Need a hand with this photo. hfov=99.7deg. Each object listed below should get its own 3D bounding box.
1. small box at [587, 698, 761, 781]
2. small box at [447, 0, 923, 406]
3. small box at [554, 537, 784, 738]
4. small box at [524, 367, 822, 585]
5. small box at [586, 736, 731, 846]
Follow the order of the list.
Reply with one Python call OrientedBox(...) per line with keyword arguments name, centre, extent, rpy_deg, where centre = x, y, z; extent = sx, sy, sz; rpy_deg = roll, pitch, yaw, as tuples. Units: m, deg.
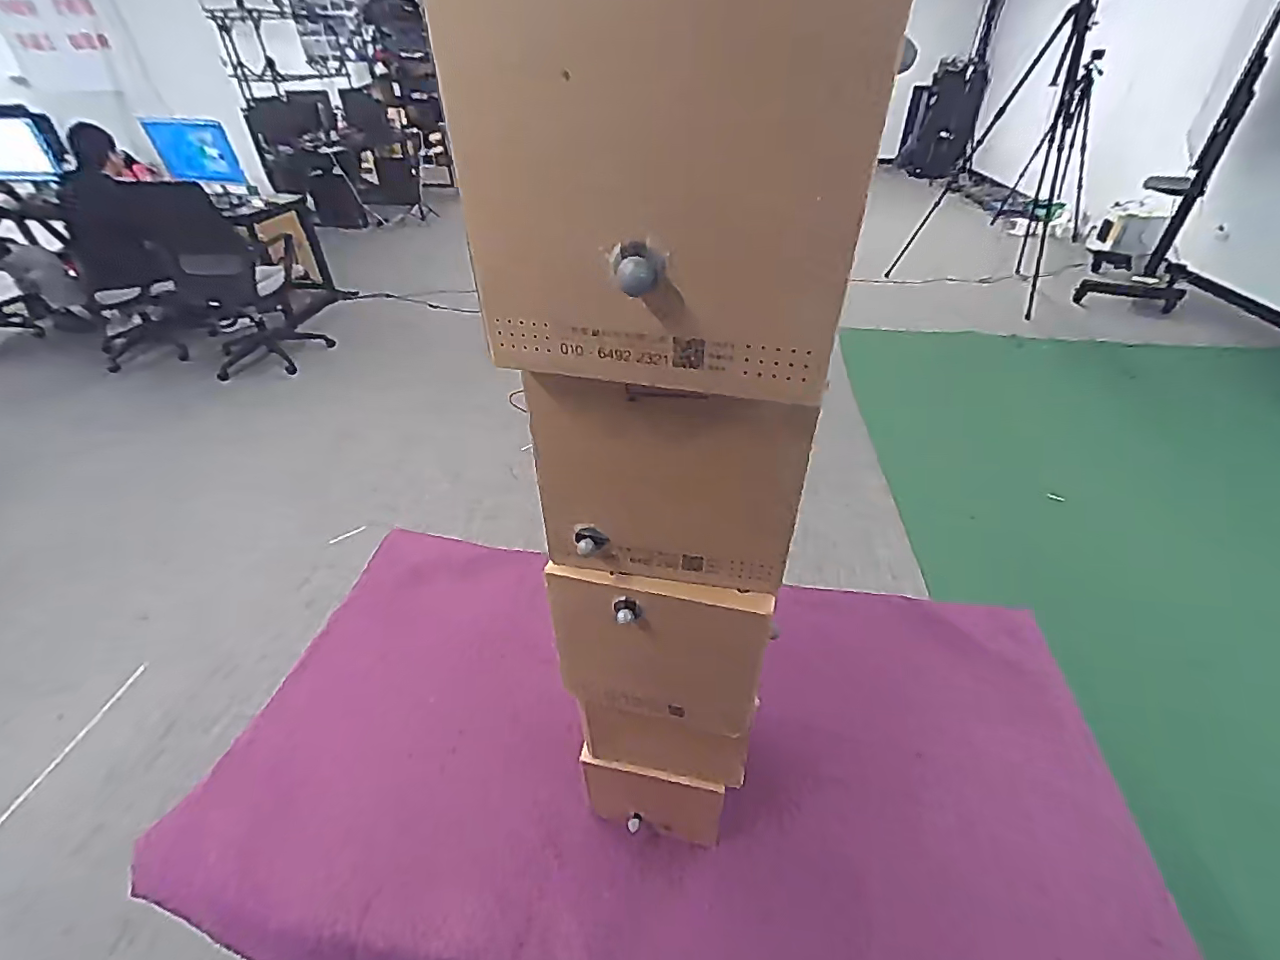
OrientedBox(name="small box", centre=(0.042, 0.206, 0.604), extent=(0.179, 0.176, 0.168), rpy_deg=(7, 39, 10))
OrientedBox(name="small box", centre=(0.027, -0.159, 0.272), extent=(0.168, 0.176, 0.179), rpy_deg=(9, 40, 13))
OrientedBox(name="small box", centre=(0.036, 0.092, 0.484), extent=(0.168, 0.176, 0.179), rpy_deg=(8, 38, 12))
OrientedBox(name="small box", centre=(0.033, -0.046, 0.394), extent=(0.168, 0.176, 0.179), rpy_deg=(6, 38, 9))
OrientedBox(name="small box", centre=(0.037, 0.333, 0.704), extent=(0.168, 0.176, 0.179), rpy_deg=(7, 40, 11))
